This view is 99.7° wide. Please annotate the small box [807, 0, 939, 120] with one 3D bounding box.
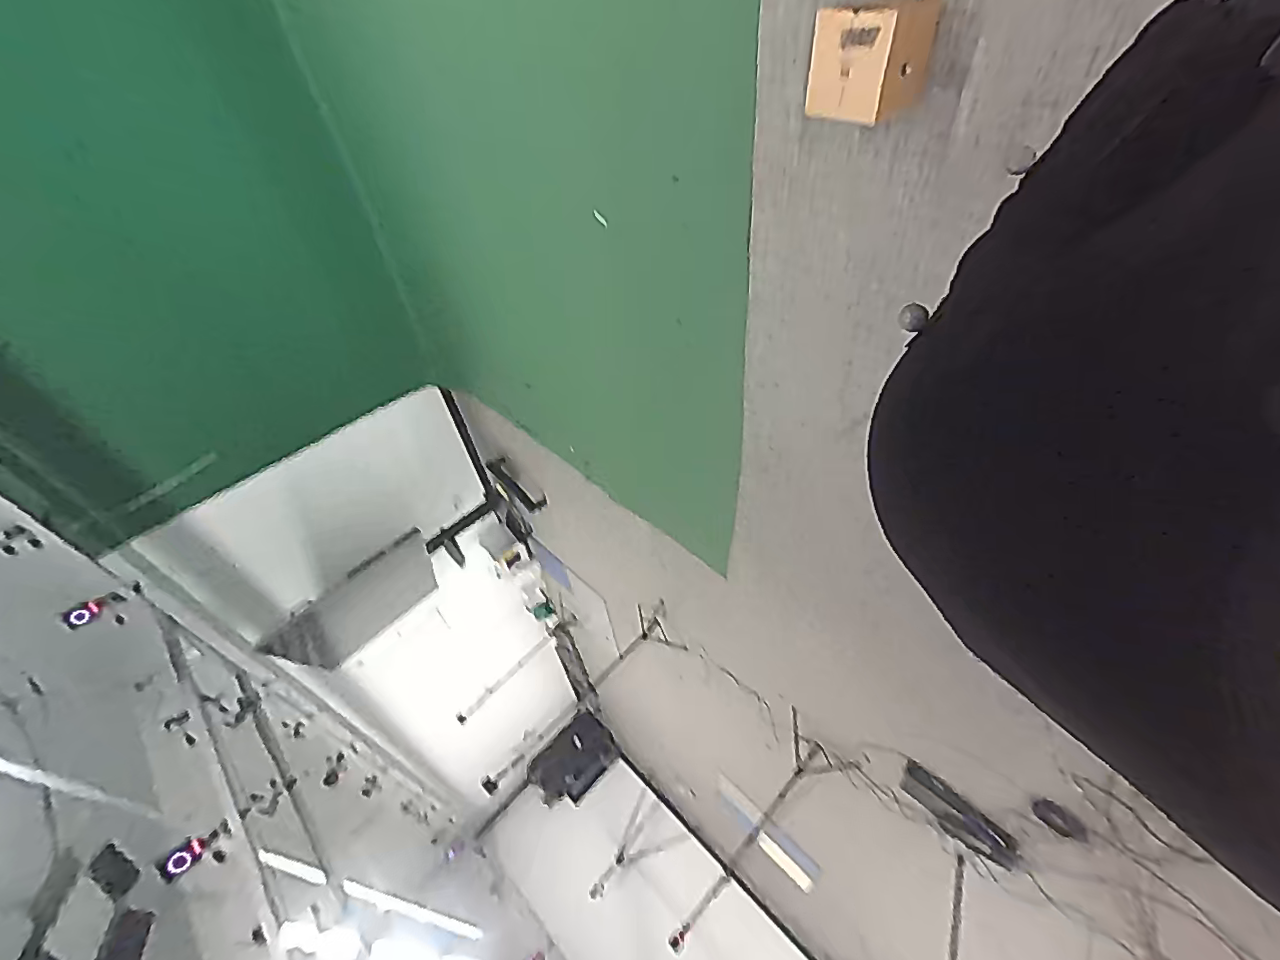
[{"bbox_3d":[0.465,-0.856,1.084,0.168,0.176,0.179,35,150,31],"label":"small box"}]
